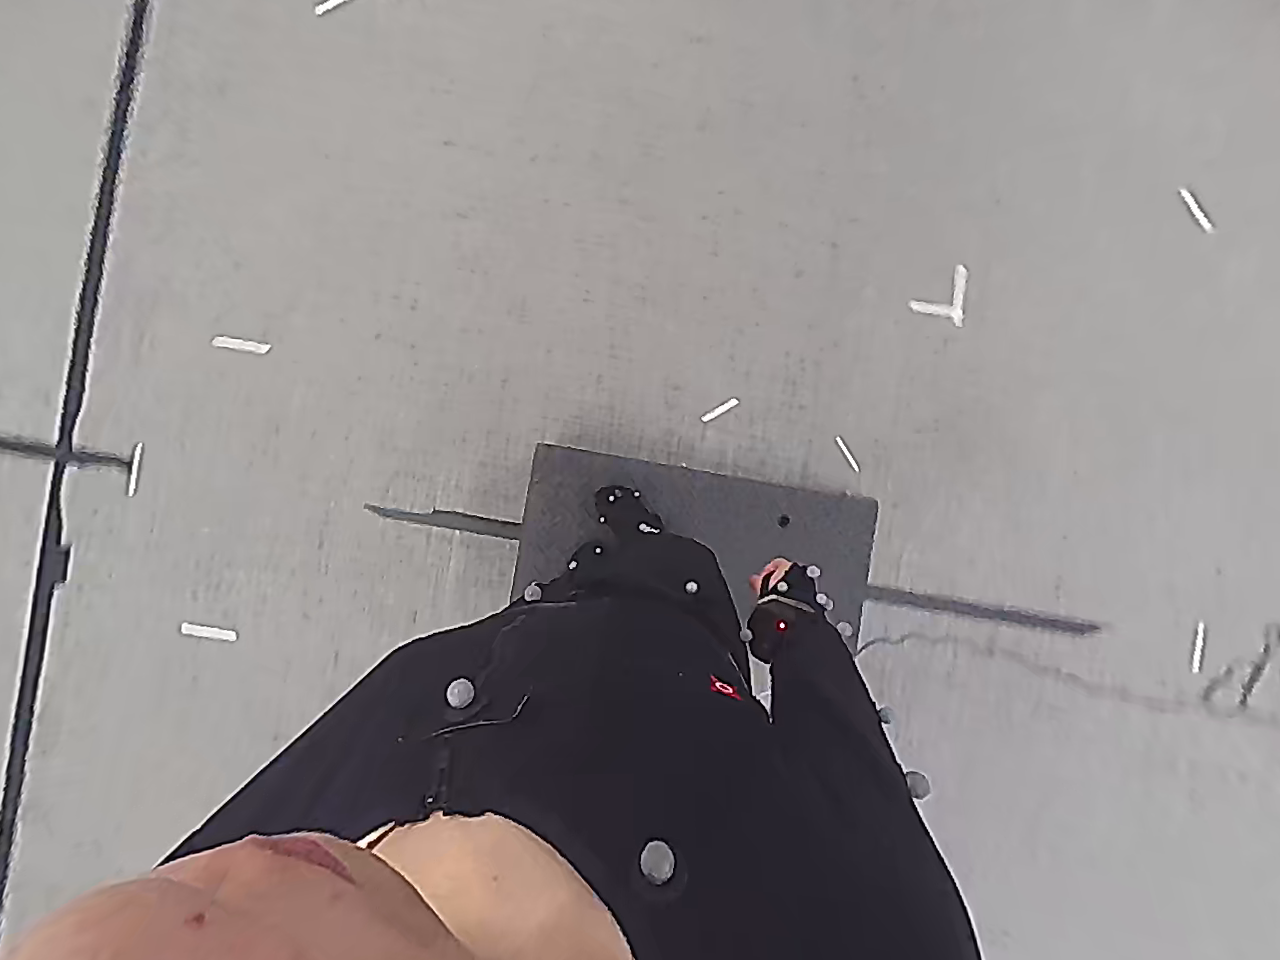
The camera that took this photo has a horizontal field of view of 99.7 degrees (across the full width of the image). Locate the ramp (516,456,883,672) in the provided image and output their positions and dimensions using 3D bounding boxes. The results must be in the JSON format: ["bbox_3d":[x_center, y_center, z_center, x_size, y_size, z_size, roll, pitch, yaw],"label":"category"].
[{"bbox_3d":[0.200,0.244,1.463,0.991,0.206,0.509,6,87,-3],"label":"ramp"}]
